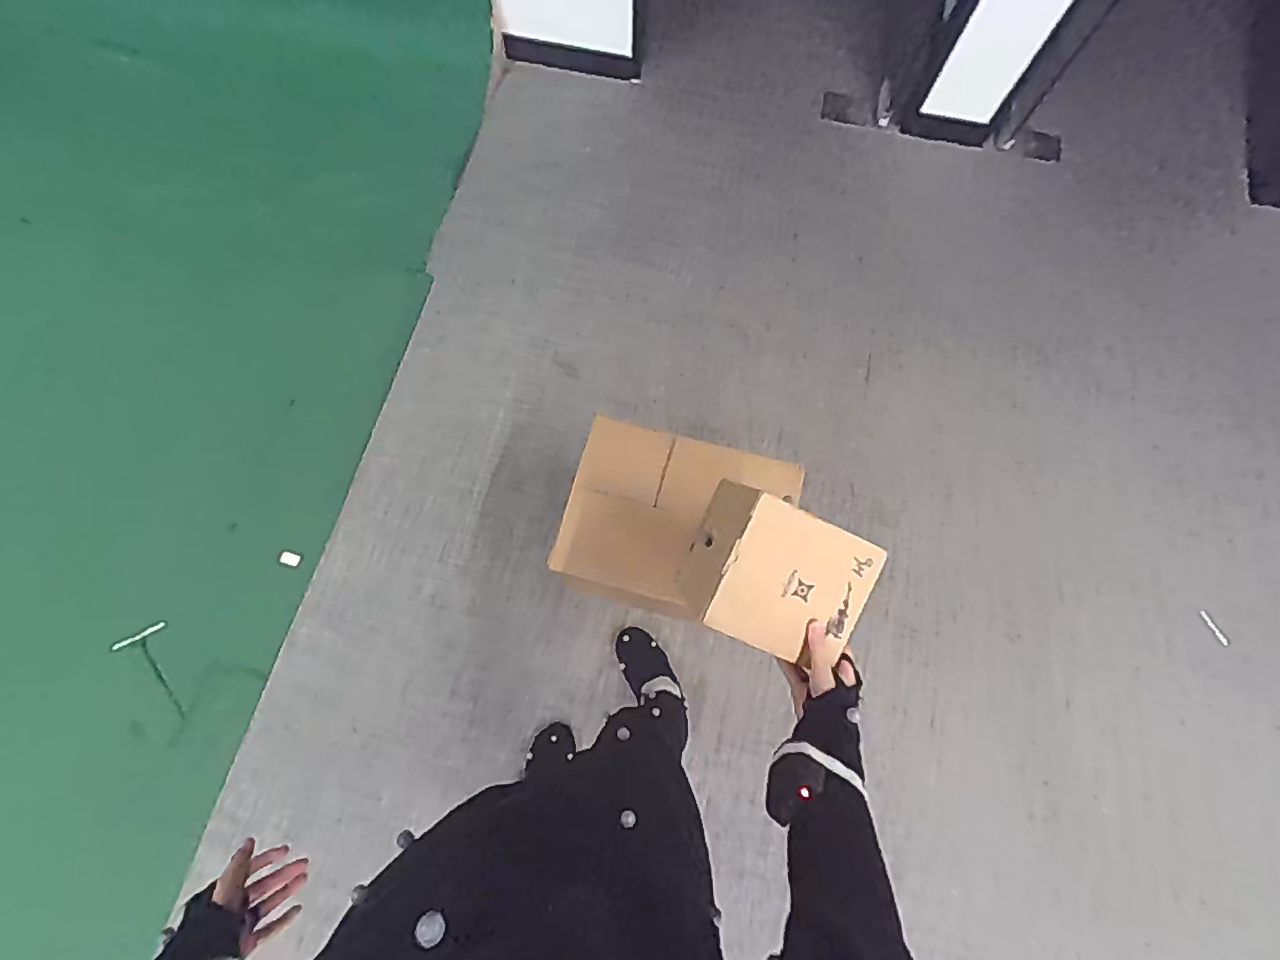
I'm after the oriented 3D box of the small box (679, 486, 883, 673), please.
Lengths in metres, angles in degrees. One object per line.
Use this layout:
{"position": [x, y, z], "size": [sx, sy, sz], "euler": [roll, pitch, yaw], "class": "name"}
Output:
{"position": [0.166, 0.115, 0.702], "size": [0.179, 0.176, 0.168], "euler": [25, 91, -7], "class": "small box"}
